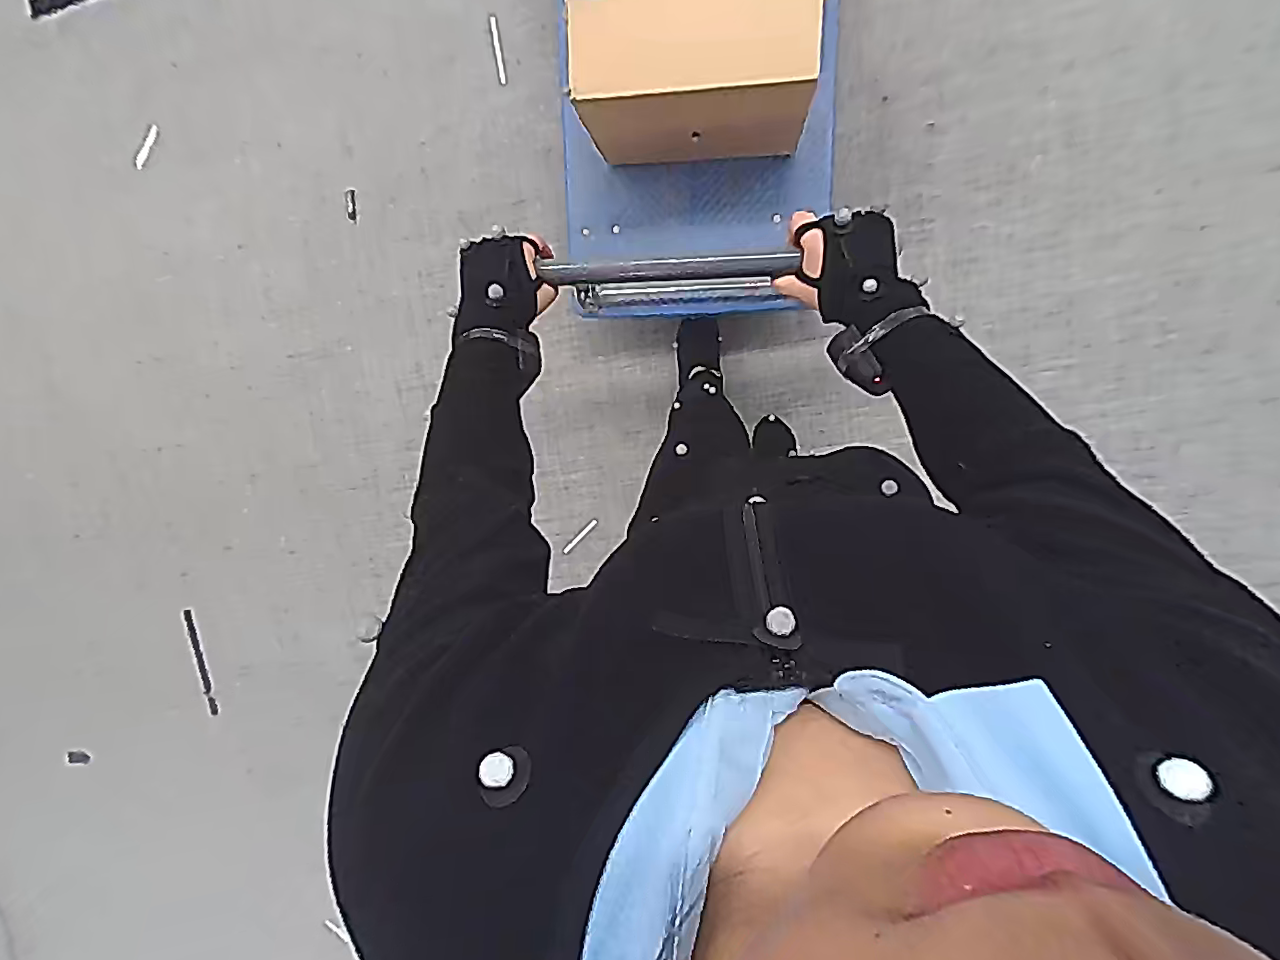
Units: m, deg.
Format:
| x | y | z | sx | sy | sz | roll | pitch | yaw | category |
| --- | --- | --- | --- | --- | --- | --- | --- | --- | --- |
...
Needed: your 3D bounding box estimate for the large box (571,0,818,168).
| x | y | z | sx | sy | sz | roll | pitch | yaw | category |
| --- | --- | --- | --- | --- | --- | --- | --- | --- | --- |
| 0.107 | -0.814 | 1.009 | 0.408 | 0.320 | 0.320 | 1 | 101 | 10 | large box |
